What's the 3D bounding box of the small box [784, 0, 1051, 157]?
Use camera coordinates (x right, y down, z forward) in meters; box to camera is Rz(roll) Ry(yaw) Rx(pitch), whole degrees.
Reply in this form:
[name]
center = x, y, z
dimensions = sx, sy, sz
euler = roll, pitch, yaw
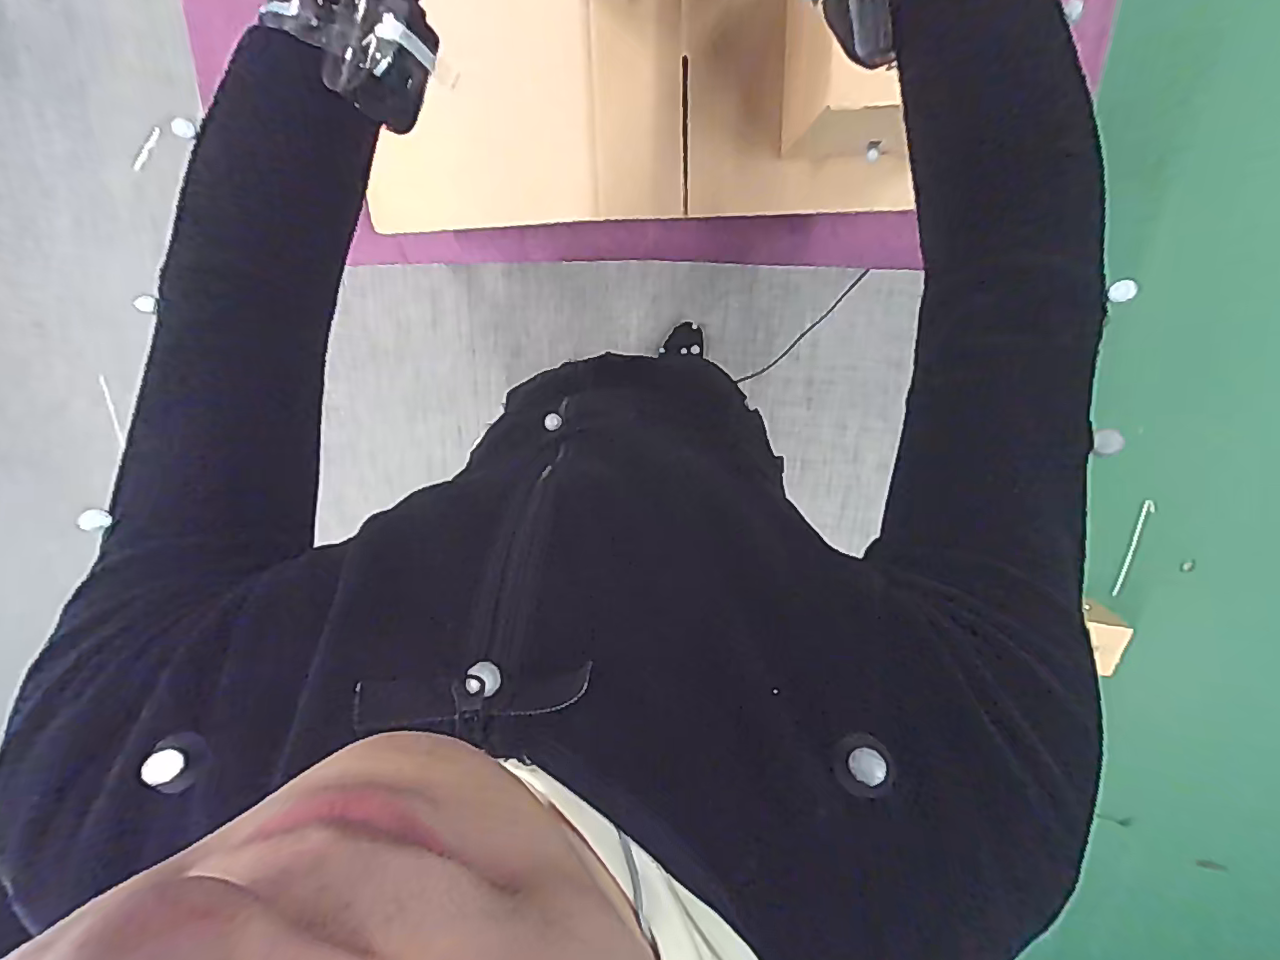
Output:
[small box]
center = 0.232, -0.409, 0.483
dimensions = 0.168, 0.176, 0.179
euler = -1, 109, 2
